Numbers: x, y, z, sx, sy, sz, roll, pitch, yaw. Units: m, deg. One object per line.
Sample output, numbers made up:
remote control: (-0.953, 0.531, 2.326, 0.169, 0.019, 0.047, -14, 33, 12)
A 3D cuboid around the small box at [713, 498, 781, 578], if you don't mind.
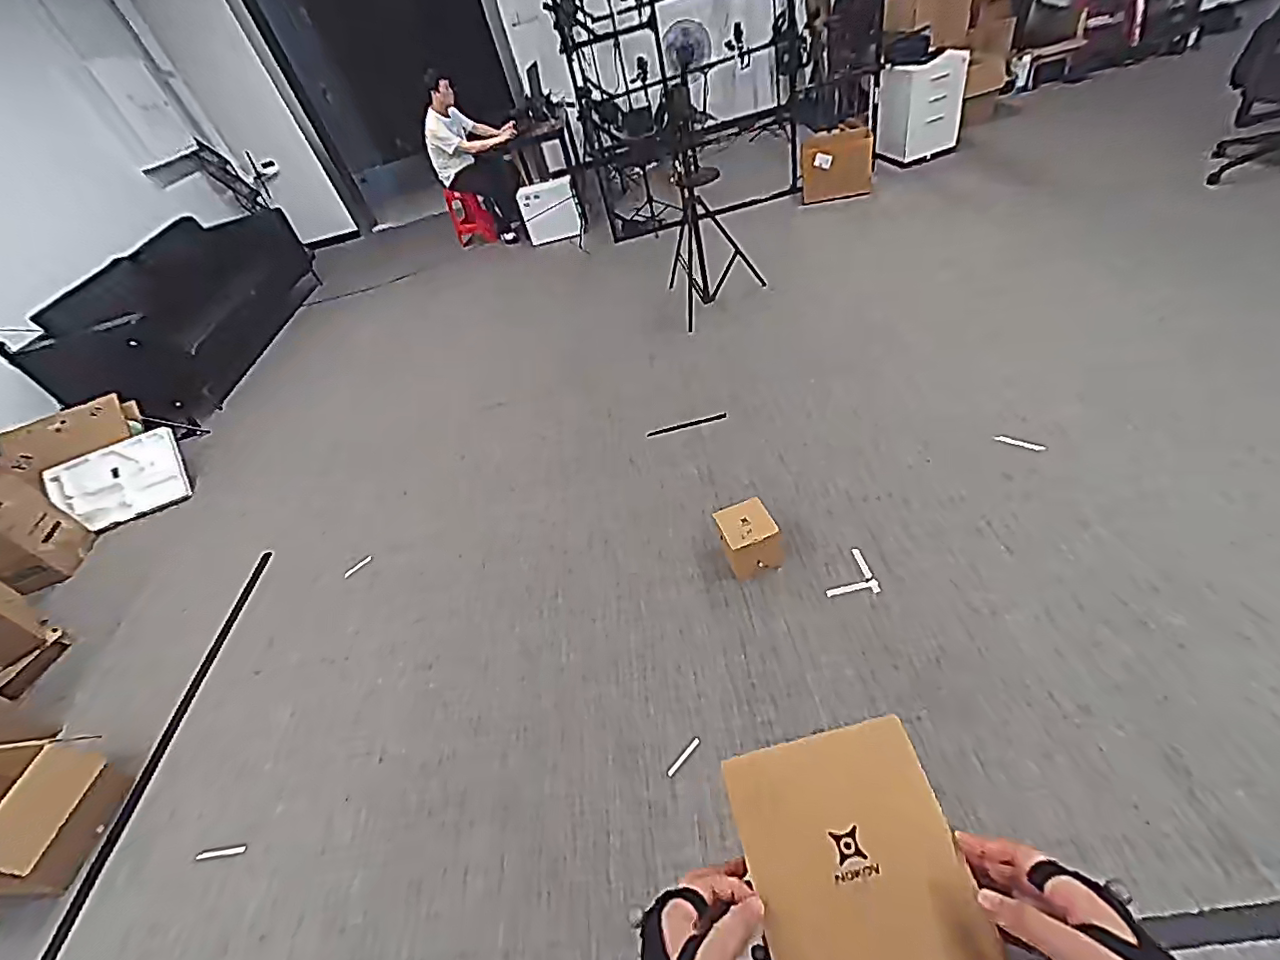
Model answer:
small box: (0.357, 0.195, 1.805, 0.168, 0.176, 0.179, -21, 43, -3)
